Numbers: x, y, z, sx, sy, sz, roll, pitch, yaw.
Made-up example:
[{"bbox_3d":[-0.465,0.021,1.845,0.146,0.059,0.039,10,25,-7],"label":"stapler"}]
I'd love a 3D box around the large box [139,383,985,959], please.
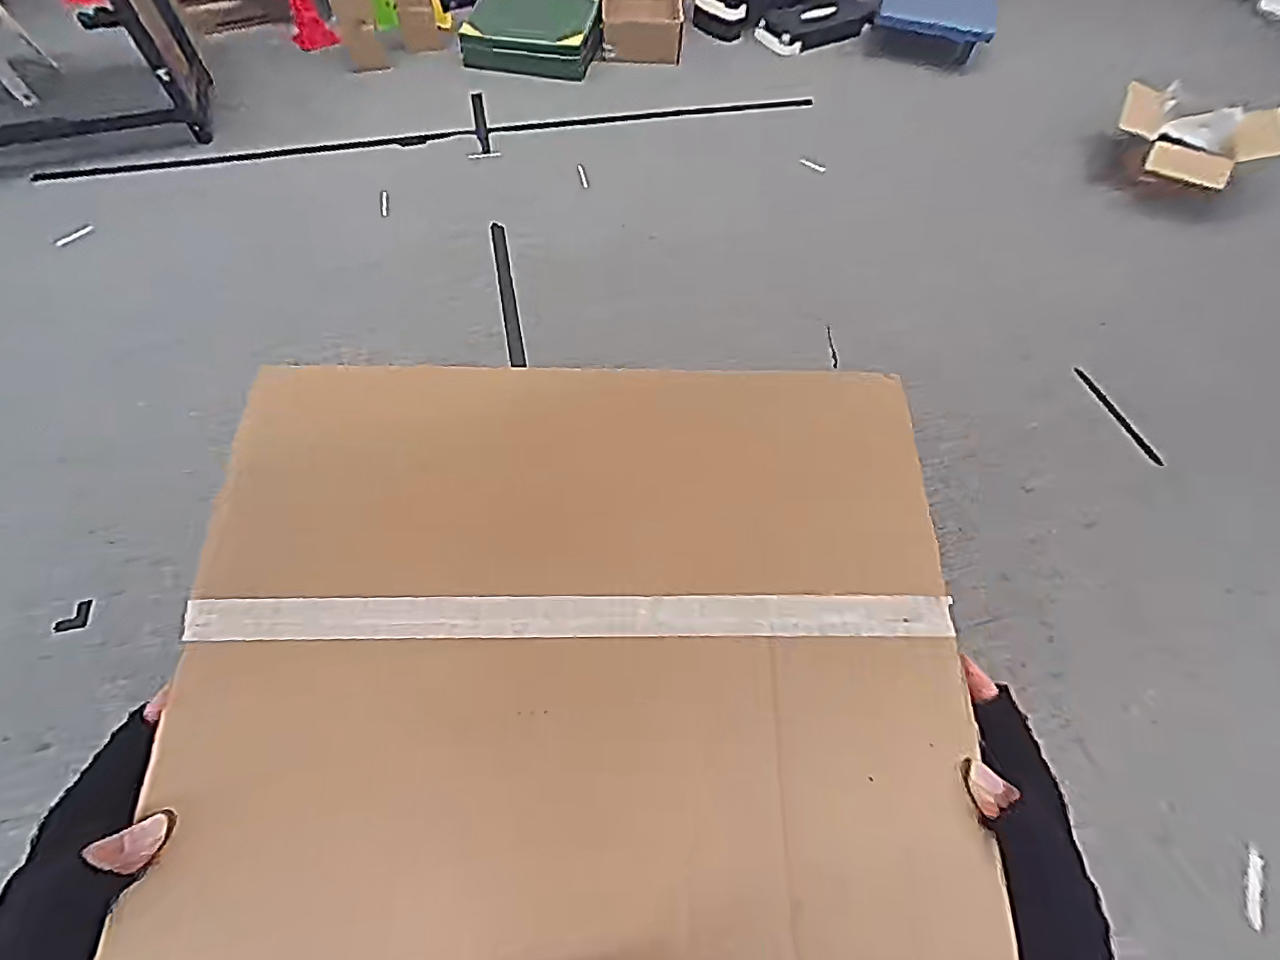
[{"bbox_3d":[-0.040,0.134,0.443,0.408,0.320,0.320,0,70,-2],"label":"large box"}]
